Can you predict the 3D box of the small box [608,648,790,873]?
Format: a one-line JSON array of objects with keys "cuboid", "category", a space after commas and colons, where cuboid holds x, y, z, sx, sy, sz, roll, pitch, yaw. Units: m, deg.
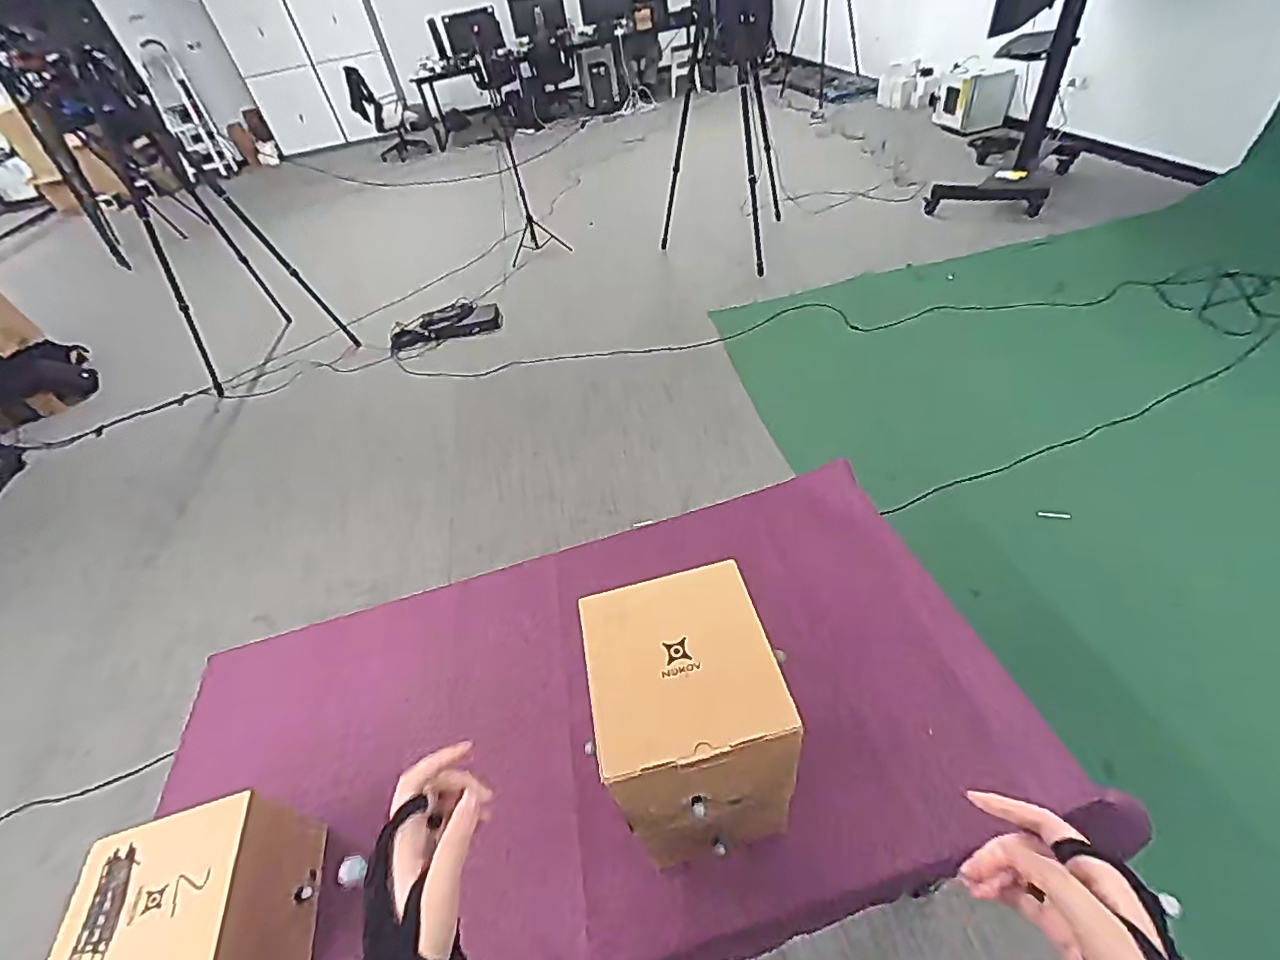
[{"cuboid": [0.066, 0.337, 0.651, 0.168, 0.176, 0.179, -15, 45, -2], "category": "small box"}]
